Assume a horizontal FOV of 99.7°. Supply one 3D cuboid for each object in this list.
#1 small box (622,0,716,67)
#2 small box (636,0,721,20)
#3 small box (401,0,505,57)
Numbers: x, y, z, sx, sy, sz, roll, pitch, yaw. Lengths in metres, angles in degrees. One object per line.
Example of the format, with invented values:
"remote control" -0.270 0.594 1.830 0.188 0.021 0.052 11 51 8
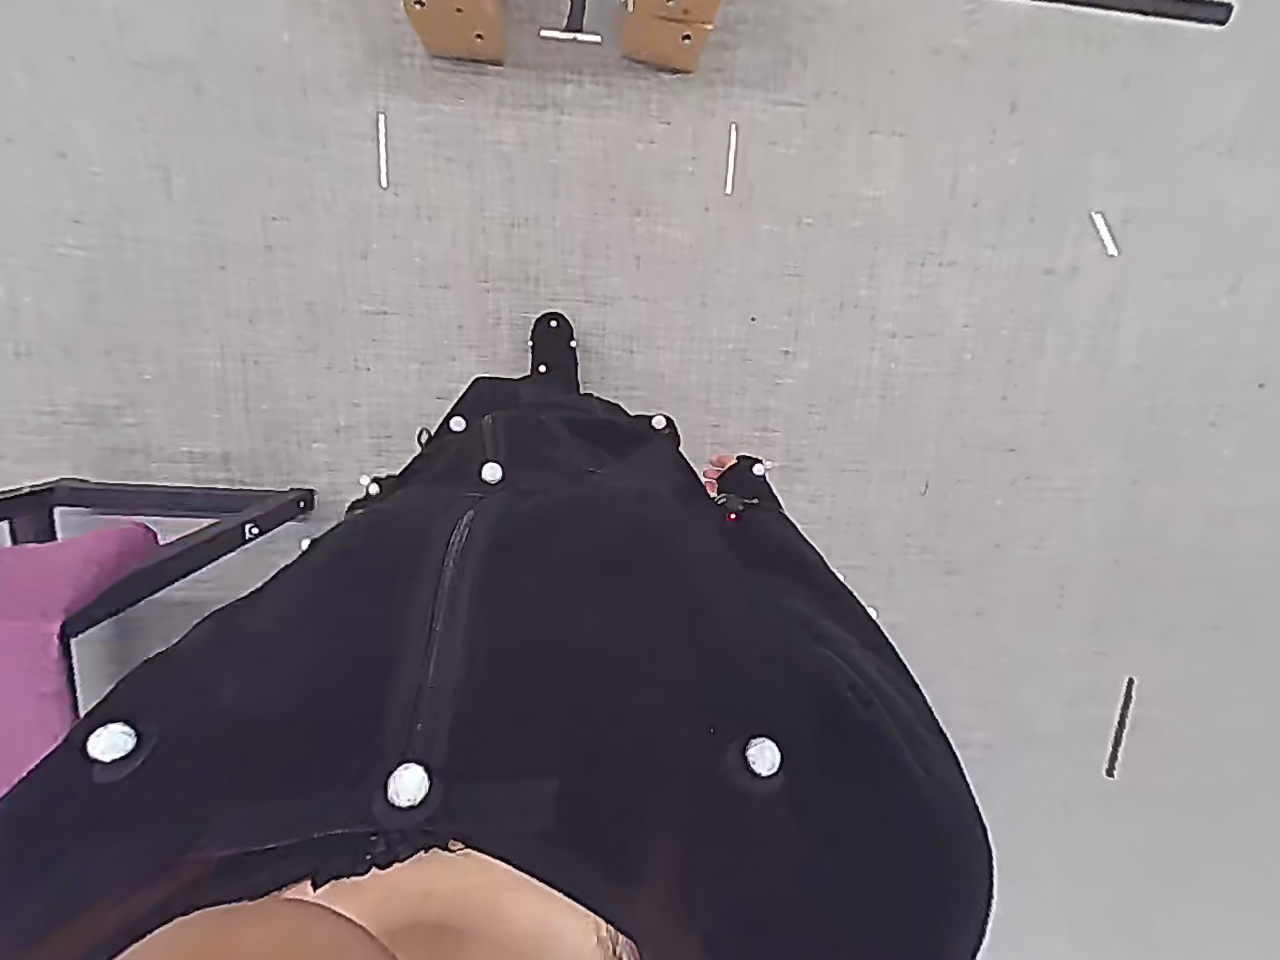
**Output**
"small box" 0.063 -1.007 1.131 0.179 0.176 0.168 6 102 -8
"small box" 0.082 -0.984 0.971 0.168 0.176 0.179 1 103 -7
"small box" -0.371 -0.991 1.090 0.179 0.176 0.168 -1 102 -5
